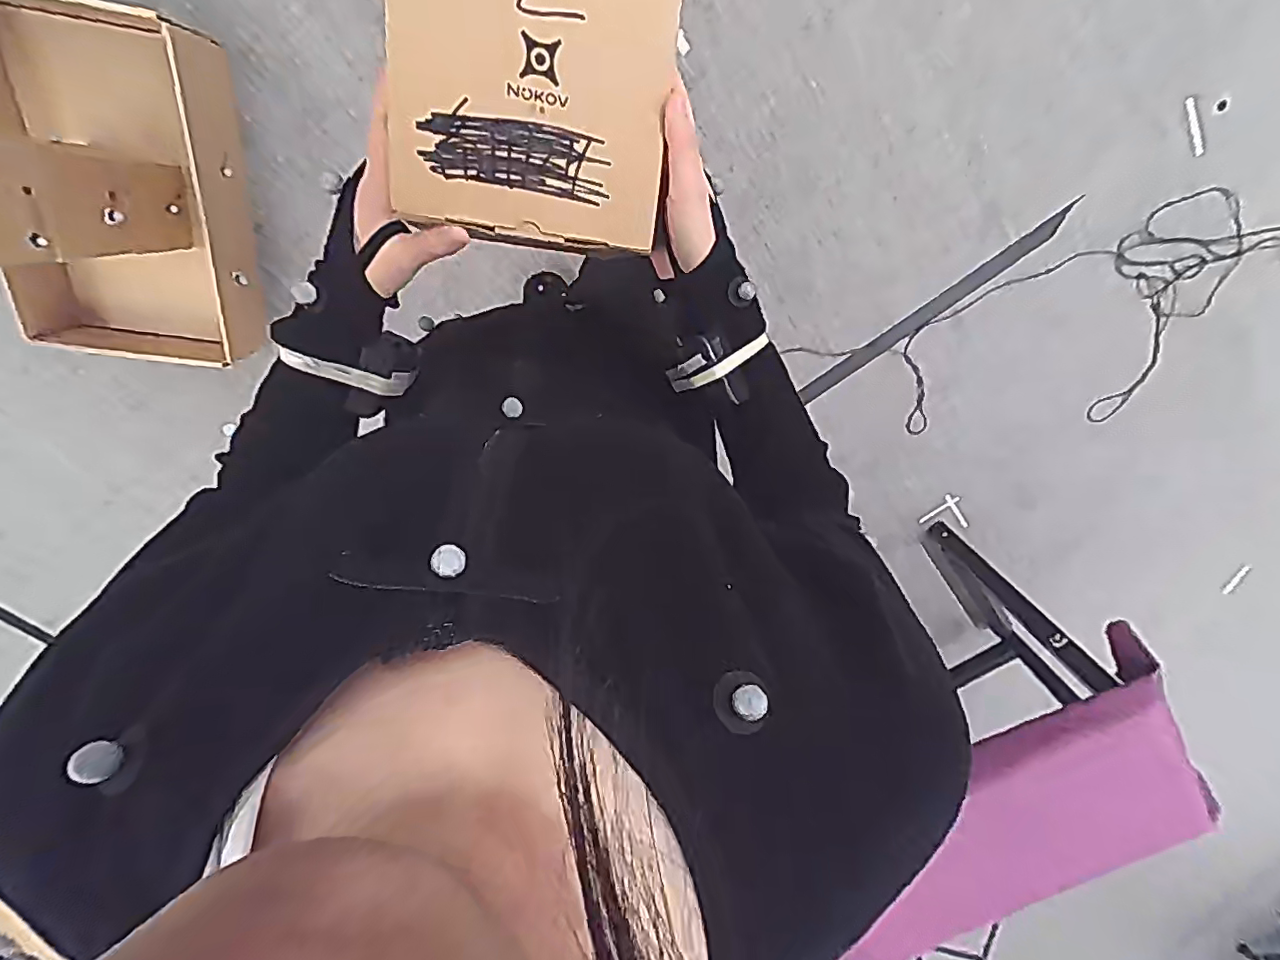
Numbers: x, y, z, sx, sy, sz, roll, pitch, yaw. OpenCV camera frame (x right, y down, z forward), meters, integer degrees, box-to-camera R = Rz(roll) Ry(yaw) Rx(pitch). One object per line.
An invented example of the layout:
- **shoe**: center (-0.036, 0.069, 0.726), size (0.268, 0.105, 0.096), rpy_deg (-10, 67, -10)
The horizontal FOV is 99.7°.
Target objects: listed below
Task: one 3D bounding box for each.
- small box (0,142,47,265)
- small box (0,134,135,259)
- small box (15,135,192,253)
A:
- **small box**: center (-1.026, -0.410, 0.776), size (0.179, 0.176, 0.168), rpy_deg (7, 116, -7)
- **small box**: center (-1.033, -0.486, 0.922), size (0.179, 0.176, 0.168), rpy_deg (7, 117, -9)
- **small box**: center (-1.043, -0.558, 1.067), size (0.179, 0.176, 0.168), rpy_deg (9, 116, -9)
